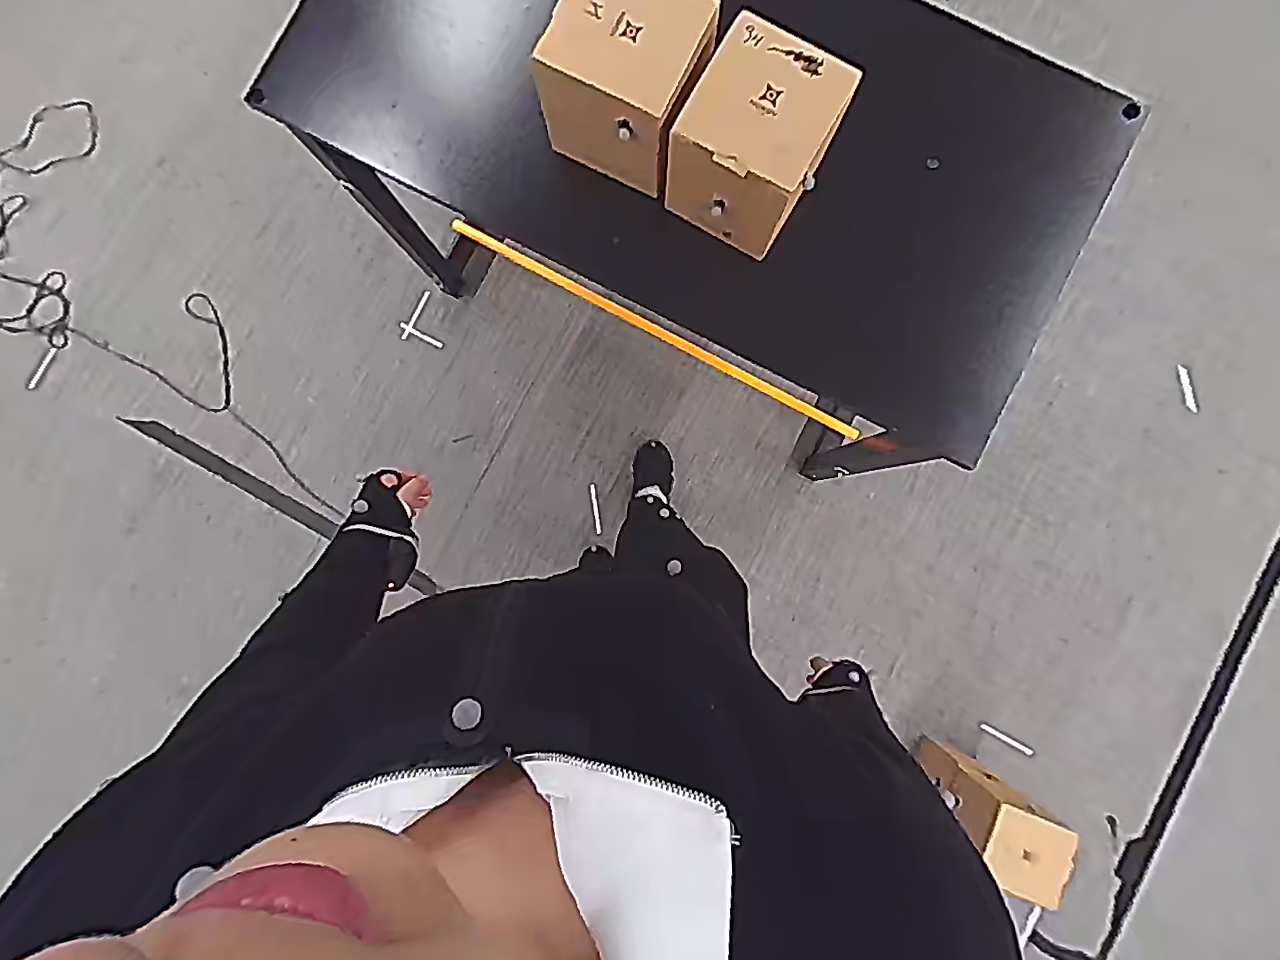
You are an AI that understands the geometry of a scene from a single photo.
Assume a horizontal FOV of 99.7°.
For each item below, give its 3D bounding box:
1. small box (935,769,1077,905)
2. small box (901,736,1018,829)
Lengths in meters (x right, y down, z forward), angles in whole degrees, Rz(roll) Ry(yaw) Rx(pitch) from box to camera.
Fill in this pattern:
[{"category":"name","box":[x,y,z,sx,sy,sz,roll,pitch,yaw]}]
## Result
[{"category":"small box","box":[0.806,0.783,1.208,0.179,0.176,0.168,21,86,3]},{"category":"small box","box":[0.798,0.787,1.371,0.168,0.176,0.179,25,88,2]}]
